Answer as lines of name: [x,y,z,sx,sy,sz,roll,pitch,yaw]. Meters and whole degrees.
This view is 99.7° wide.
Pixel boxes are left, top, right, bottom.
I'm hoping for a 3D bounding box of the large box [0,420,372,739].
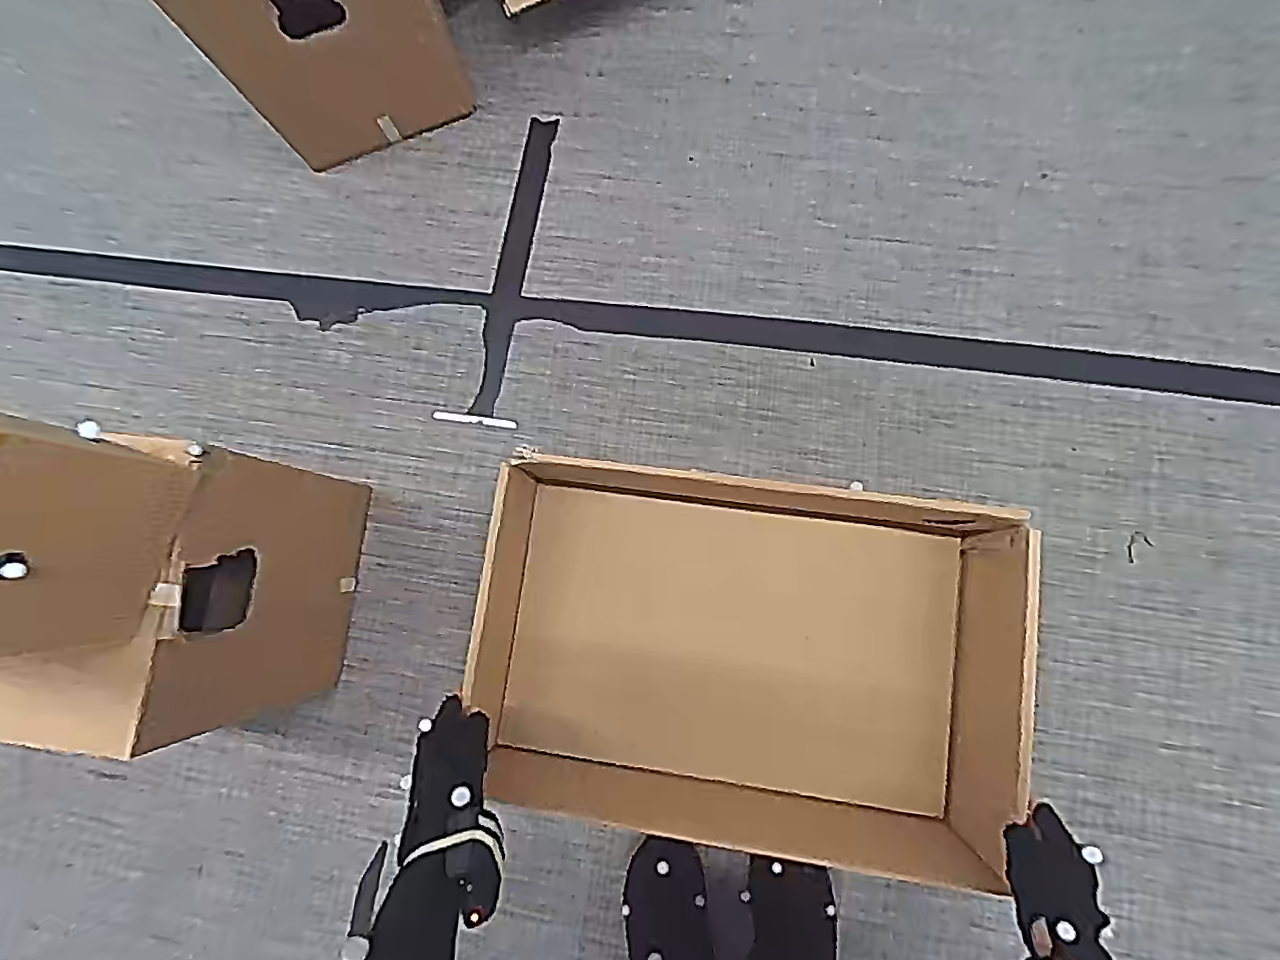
large box: [-0.642,0.114,0.707,0.408,0.320,0.320,4,82,4]
